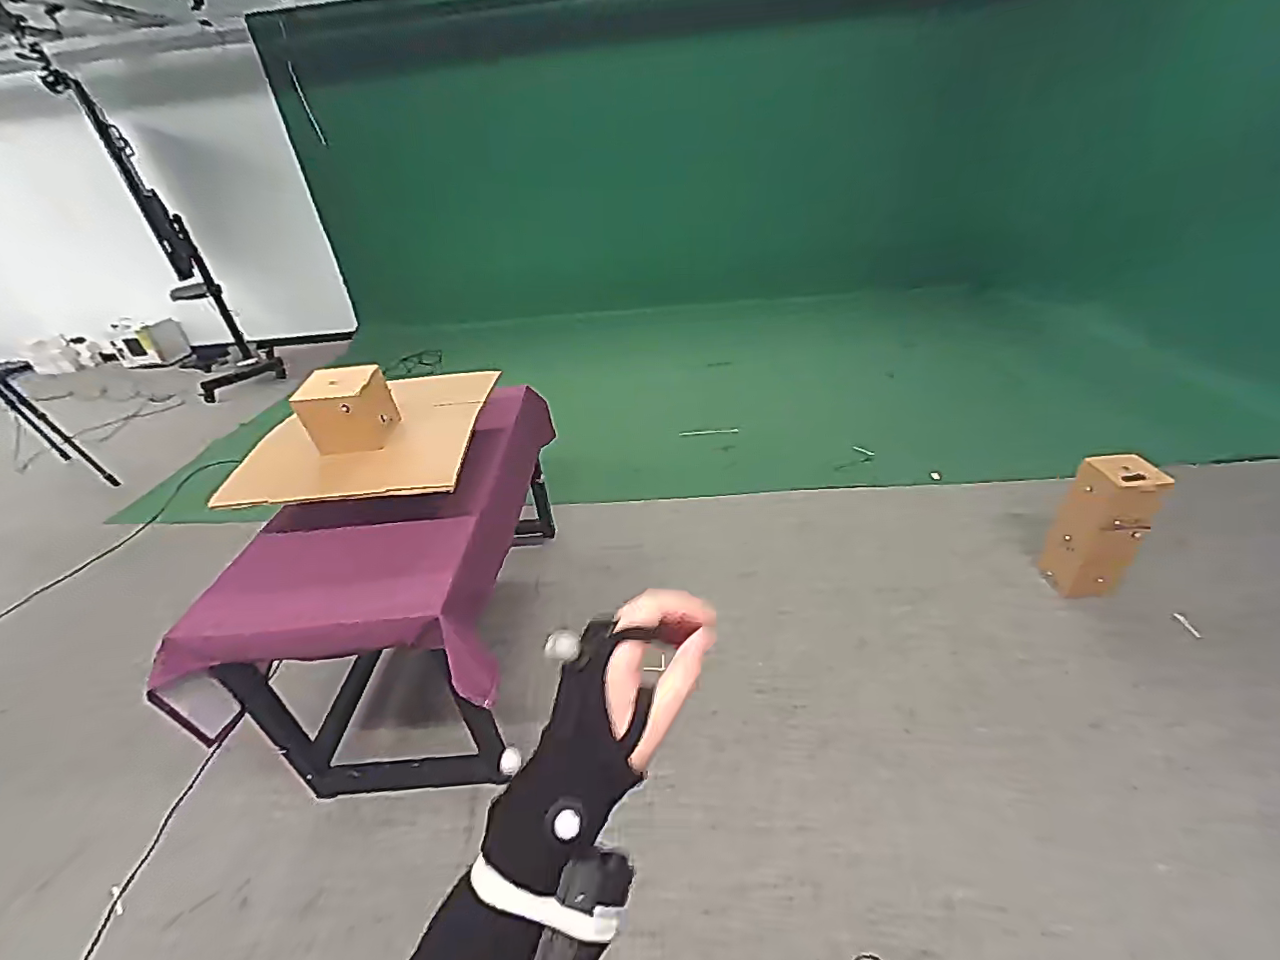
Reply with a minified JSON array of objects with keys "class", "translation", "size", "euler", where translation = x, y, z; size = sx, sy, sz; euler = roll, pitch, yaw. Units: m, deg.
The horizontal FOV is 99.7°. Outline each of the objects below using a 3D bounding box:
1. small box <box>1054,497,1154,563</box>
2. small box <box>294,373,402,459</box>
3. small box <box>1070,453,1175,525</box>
[{"class":"small box","translation":[1.578,0.166,1.853],"size":[0.179,0.176,0.168],"euler":[-7,32,2]},{"class":"small box","translation":[-0.778,-0.170,1.462],"size":[0.179,0.176,0.168],"euler":[-5,39,1]},{"class":"small box","translation":[1.556,0.034,1.757],"size":[0.168,0.176,0.179],"euler":[-5,33,4]}]
